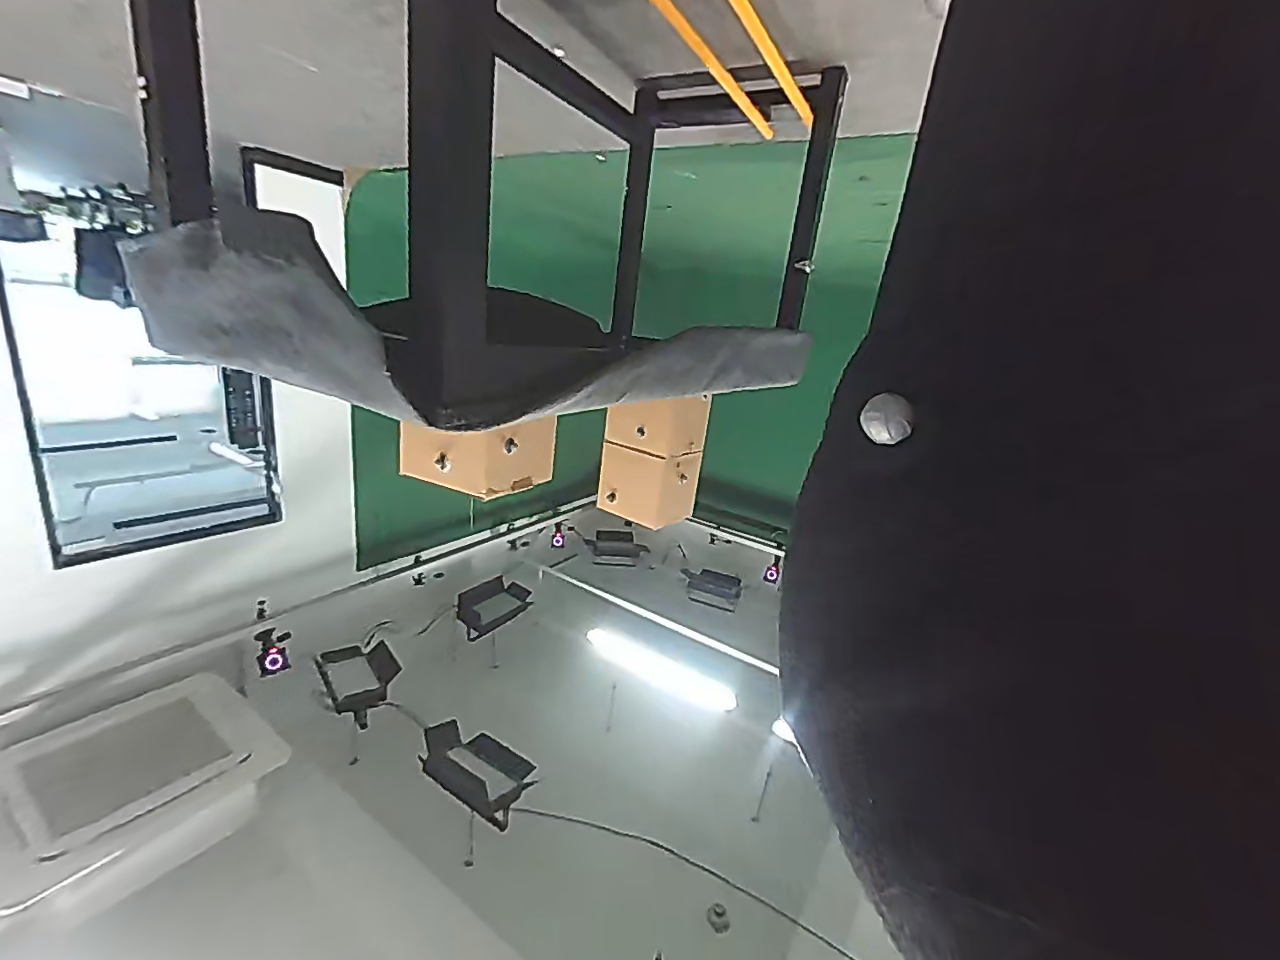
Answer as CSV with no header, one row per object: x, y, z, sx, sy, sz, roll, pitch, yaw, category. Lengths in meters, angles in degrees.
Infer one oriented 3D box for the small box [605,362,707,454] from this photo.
0.042,-0.171,1.237,0.179,0.176,0.168,19,-160,31,small box

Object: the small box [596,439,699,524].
0.020,-0.015,1.286,0.179,0.176,0.168,19,-159,33,small box

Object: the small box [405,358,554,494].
-0.249,-0.094,0.854,0.179,0.176,0.168,16,-162,24,small box
